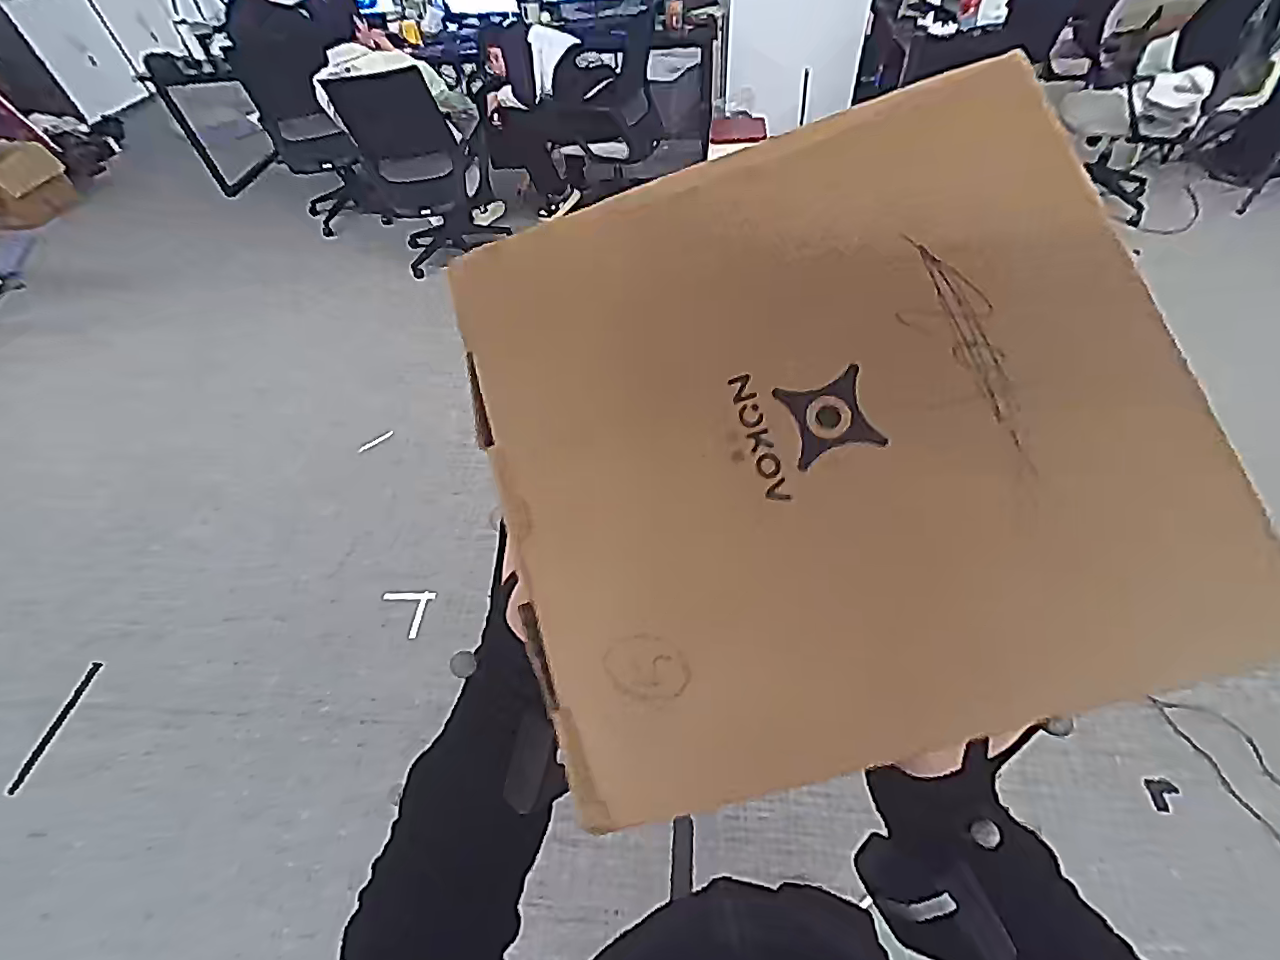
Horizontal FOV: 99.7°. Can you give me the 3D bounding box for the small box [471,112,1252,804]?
[{"bbox_3d":[0.058,0.002,0.234,0.179,0.176,0.168,-19,78,4],"label":"small box"}]
